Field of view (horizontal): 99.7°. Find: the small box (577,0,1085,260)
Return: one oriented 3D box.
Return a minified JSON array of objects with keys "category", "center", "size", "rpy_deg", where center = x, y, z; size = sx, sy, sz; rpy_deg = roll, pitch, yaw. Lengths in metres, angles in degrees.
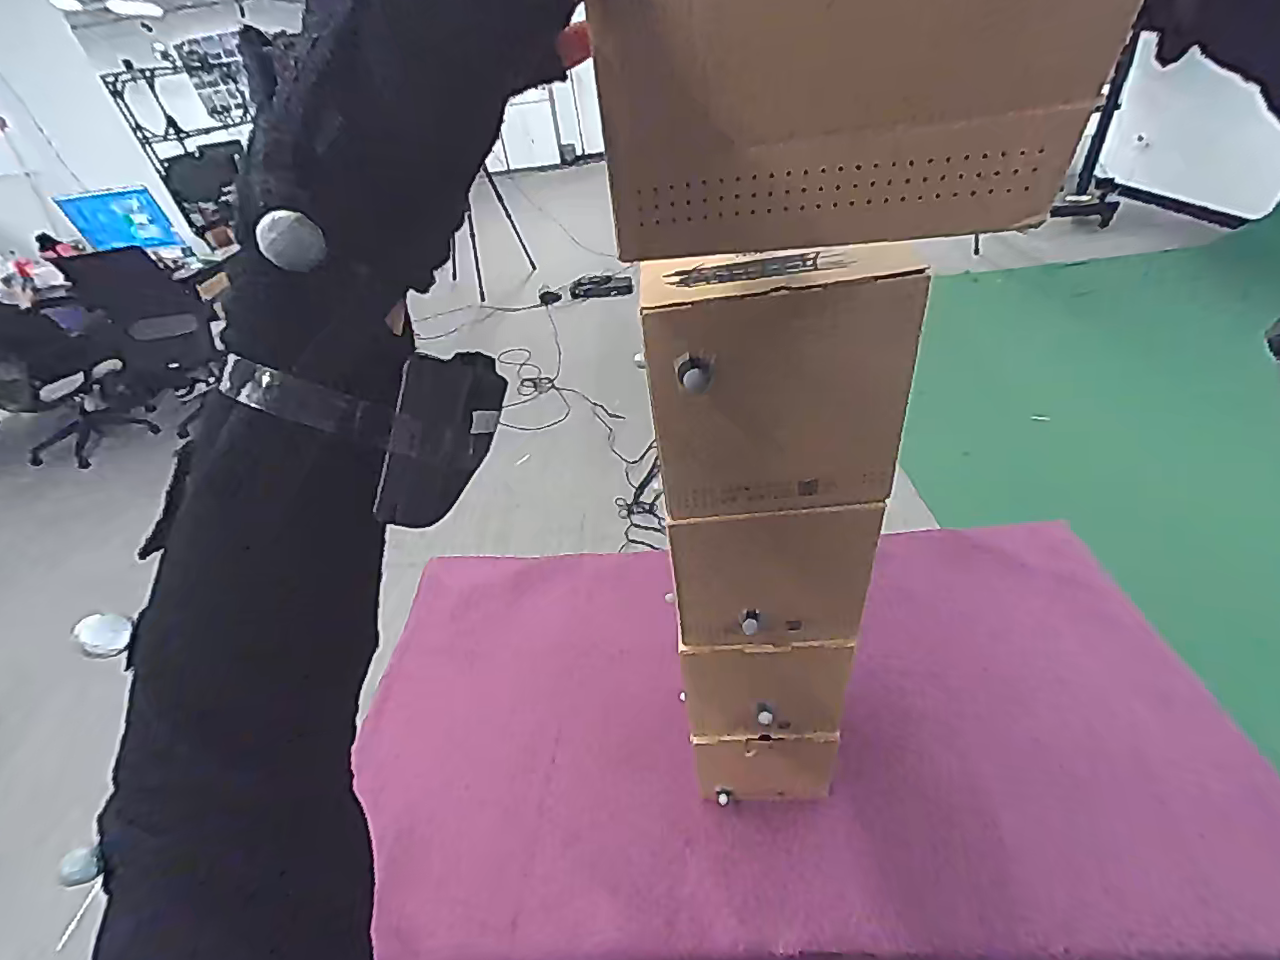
[{"category":"small box","center":[0.066,-0.210,0.229],"size":[0.179,0.176,0.168],"rpy_deg":[-3,49,5]}]

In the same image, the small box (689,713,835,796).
[{"category":"small box","center":[0.152,0.299,0.720],"size":[0.168,0.176,0.179],"rpy_deg":[-4,38,6]}]

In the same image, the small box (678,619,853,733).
[{"category":"small box","center":[0.131,0.167,0.625],"size":[0.168,0.176,0.179],"rpy_deg":[-5,39,6]}]

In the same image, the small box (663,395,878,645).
[{"category":"small box","center":[0.111,0.037,0.527],"size":[0.168,0.176,0.179],"rpy_deg":[-5,39,6]}]
